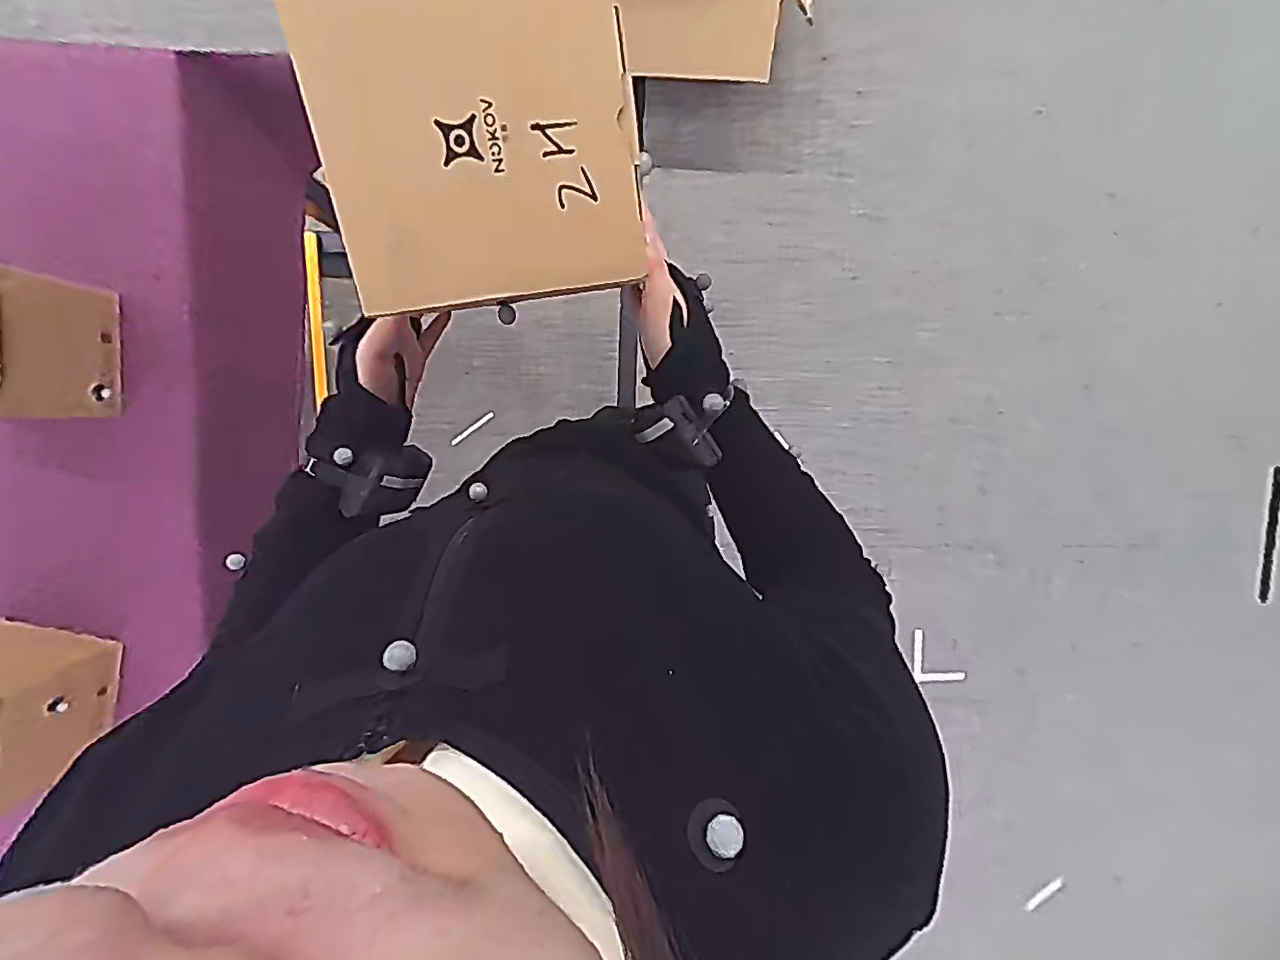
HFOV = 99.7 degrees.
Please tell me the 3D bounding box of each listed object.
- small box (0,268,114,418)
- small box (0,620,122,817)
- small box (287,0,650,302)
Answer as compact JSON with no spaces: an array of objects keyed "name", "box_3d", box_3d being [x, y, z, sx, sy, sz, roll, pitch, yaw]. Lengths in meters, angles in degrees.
[{"name":"small box","box_3d":[-0.775,-0.163,0.635,0.179,0.176,0.168,5,97,0]},{"name":"small box","box_3d":[-0.826,0.296,0.689,0.179,0.176,0.168,13,95,-2]},{"name":"small box","box_3d":[-0.089,-0.216,0.372,0.179,0.176,0.168,-7,110,1]}]
